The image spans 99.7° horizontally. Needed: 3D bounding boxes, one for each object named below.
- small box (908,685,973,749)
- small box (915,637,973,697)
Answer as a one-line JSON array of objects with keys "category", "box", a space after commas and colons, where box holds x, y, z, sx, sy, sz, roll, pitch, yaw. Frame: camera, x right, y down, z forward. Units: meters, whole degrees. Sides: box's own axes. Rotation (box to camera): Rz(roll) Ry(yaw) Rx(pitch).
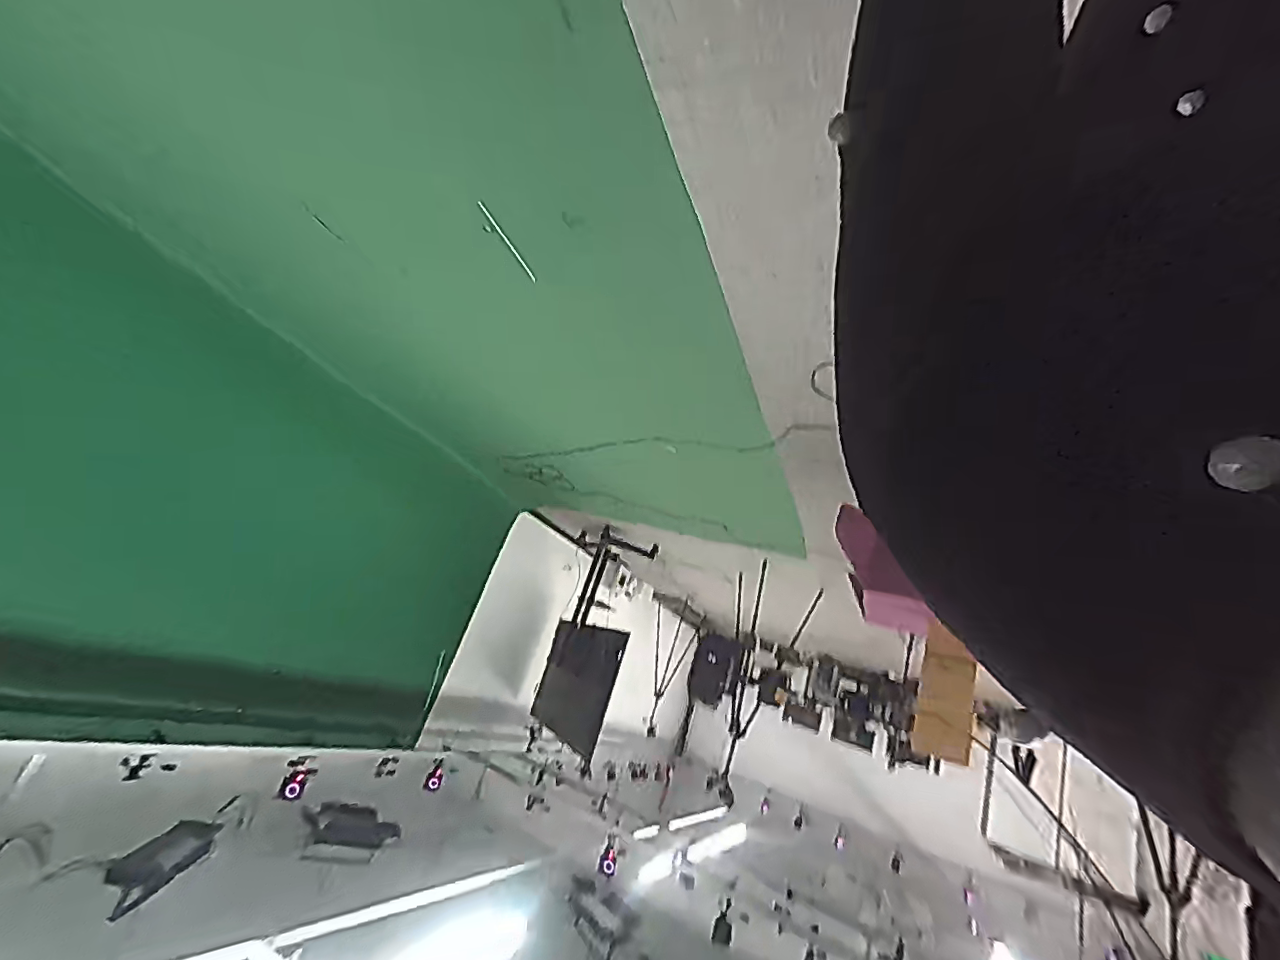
[{"category": "small box", "box": [1.075, 0.840, 1.928, 0.179, 0.176, 0.168, 5, 159, 35]}, {"category": "small box", "box": [1.111, 0.686, 1.972, 0.168, 0.176, 0.179, 6, 159, 33]}]
